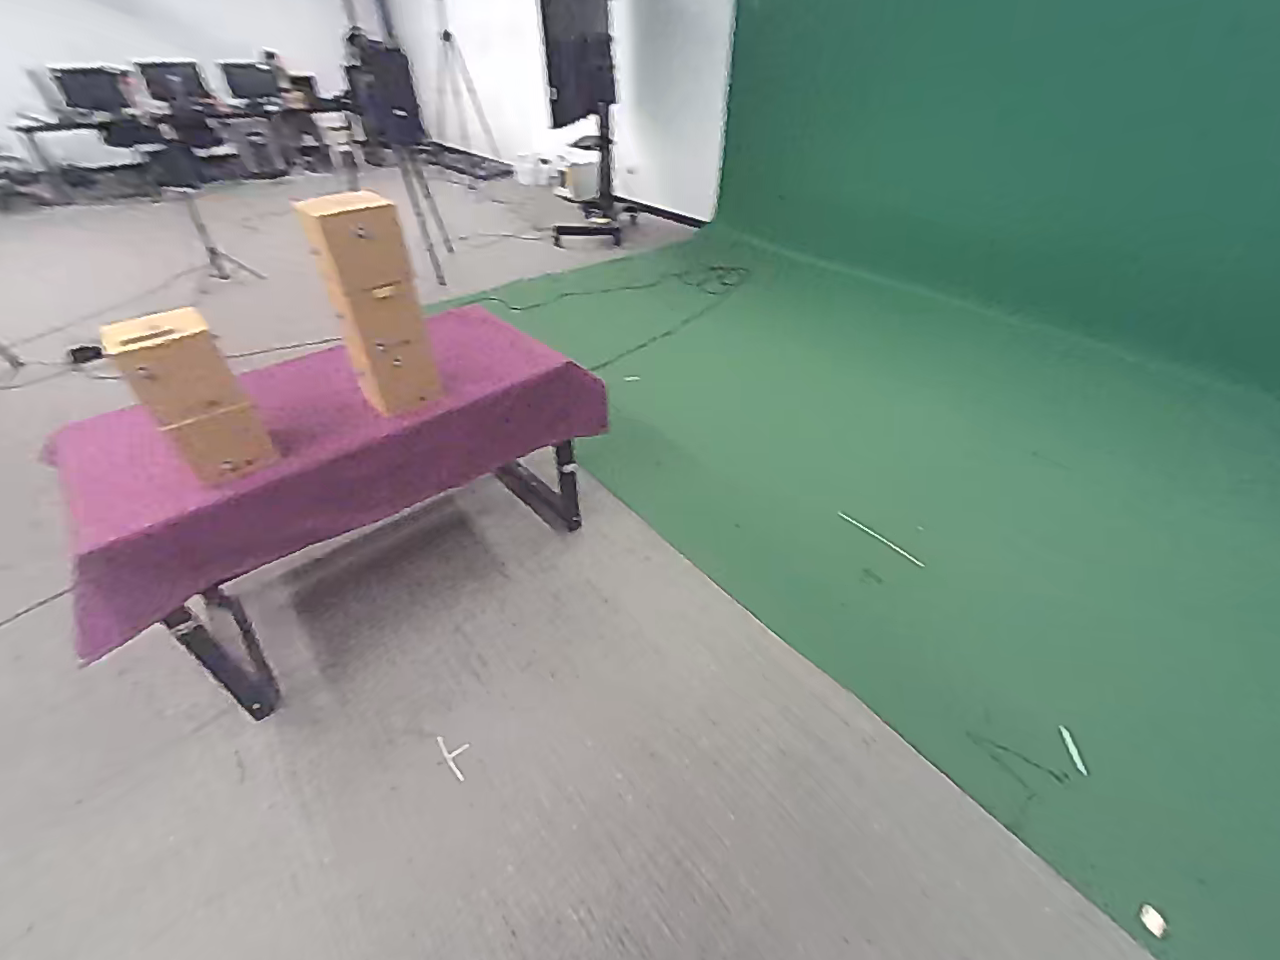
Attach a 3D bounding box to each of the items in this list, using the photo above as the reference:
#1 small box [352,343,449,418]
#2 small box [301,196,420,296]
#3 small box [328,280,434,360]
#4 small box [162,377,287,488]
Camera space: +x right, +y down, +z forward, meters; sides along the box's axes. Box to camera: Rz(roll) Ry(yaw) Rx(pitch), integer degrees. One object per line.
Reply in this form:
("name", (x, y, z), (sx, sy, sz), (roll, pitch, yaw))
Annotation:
("small box", (-0.649, -0.293, 1.474), (0.168, 0.176, 0.179), (-31, 48, -30))
("small box", (-0.646, -0.546, 1.263), (0.179, 0.176, 0.168), (-29, 49, -31))
("small box", (-0.650, -0.421, 1.370), (0.168, 0.176, 0.179), (-31, 48, -31))
("small box", (-0.960, -0.110, 1.257), (0.168, 0.176, 0.179), (-29, 48, -30))
